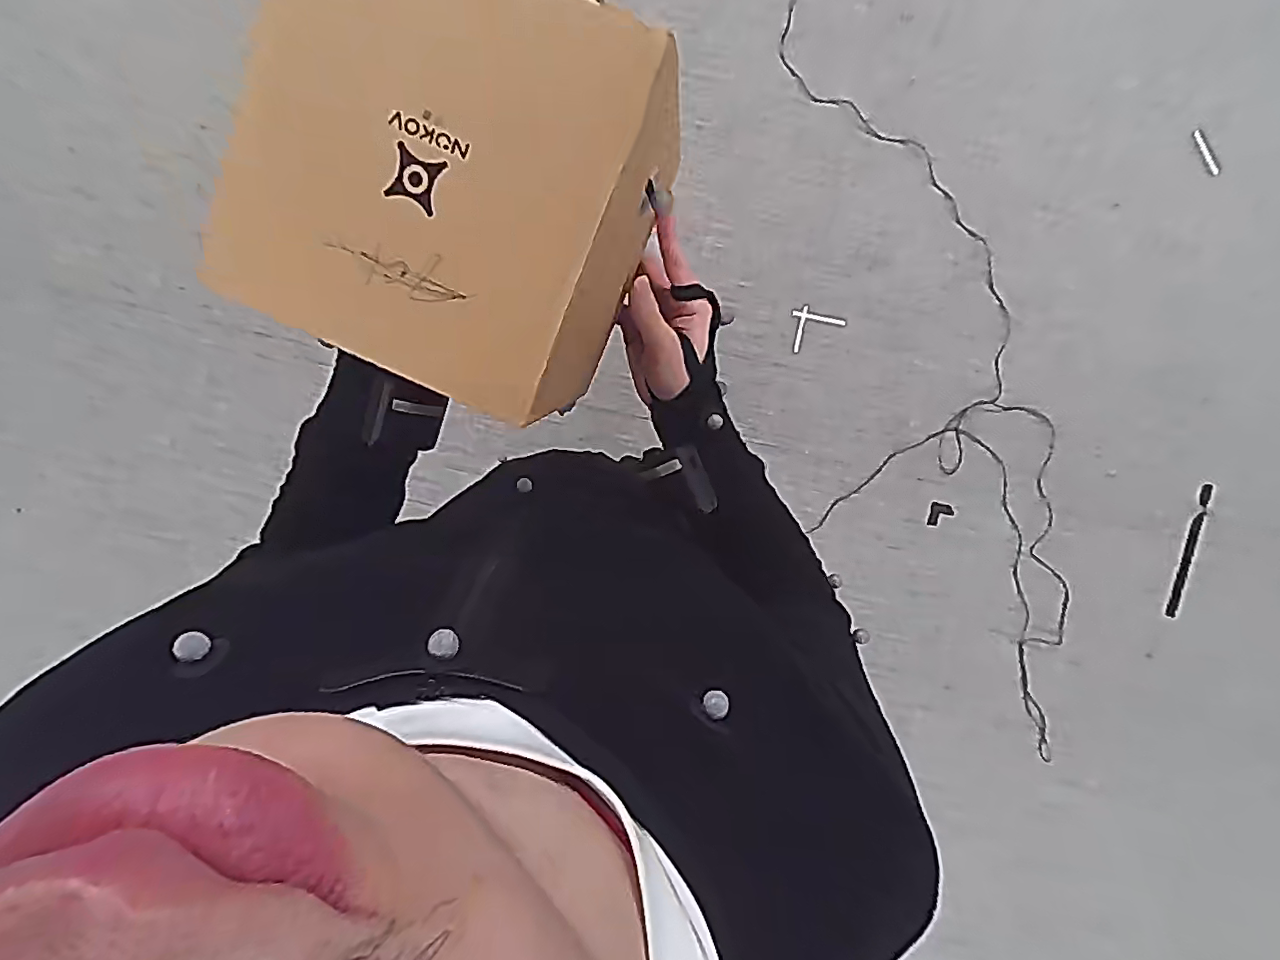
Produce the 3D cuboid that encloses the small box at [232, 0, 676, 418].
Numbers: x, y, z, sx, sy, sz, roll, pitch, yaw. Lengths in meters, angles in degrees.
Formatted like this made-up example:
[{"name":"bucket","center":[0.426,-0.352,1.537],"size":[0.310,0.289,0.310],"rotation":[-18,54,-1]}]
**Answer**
[{"name":"small box","center":[-0.086,-0.157,0.321],"size":[0.168,0.176,0.179],"rotation":[22,105,-1]}]
